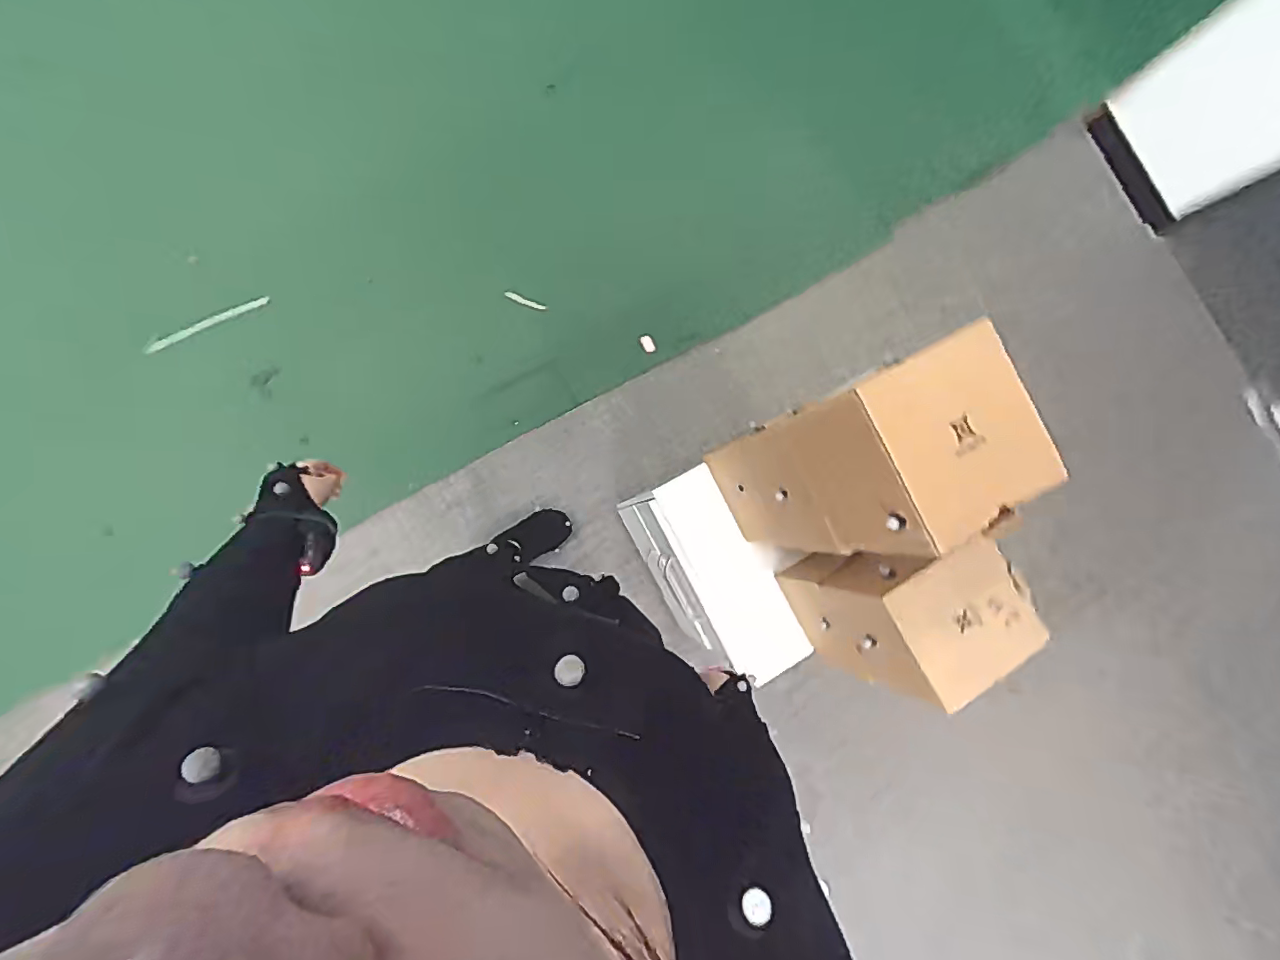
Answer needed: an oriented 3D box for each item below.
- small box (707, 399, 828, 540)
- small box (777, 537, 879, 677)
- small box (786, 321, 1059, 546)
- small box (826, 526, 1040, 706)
[{"bbox_3d":[0.237,-0.012,0.918,0.168,0.176,0.179,-27,92,-11],"label":"small box"},{"bbox_3d":[0.362,0.201,0.919,0.168,0.176,0.179,-27,89,-11],"label":"small box"},{"bbox_3d":[0.292,-0.040,0.596,0.168,0.176,0.179,-27,91,-12],"label":"small box"},{"bbox_3d":[0.390,0.177,0.758,0.179,0.176,0.168,-29,90,-11],"label":"small box"}]
